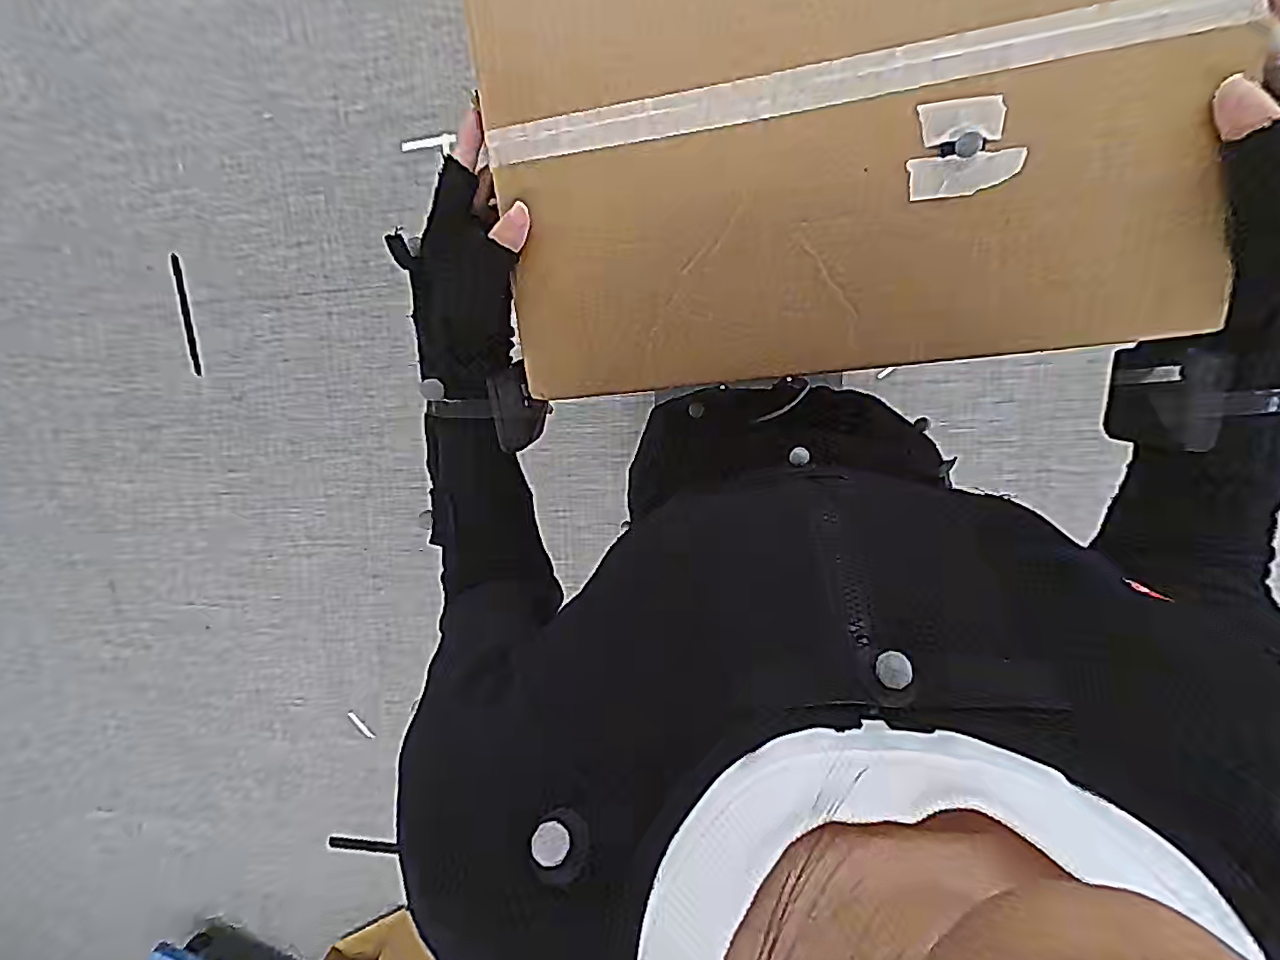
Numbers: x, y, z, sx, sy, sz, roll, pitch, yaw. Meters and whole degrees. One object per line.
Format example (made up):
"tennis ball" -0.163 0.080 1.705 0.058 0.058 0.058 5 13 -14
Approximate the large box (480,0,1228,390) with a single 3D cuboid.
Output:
"large box" 0.128 -0.263 0.455 0.408 0.320 0.320 -5 104 9
